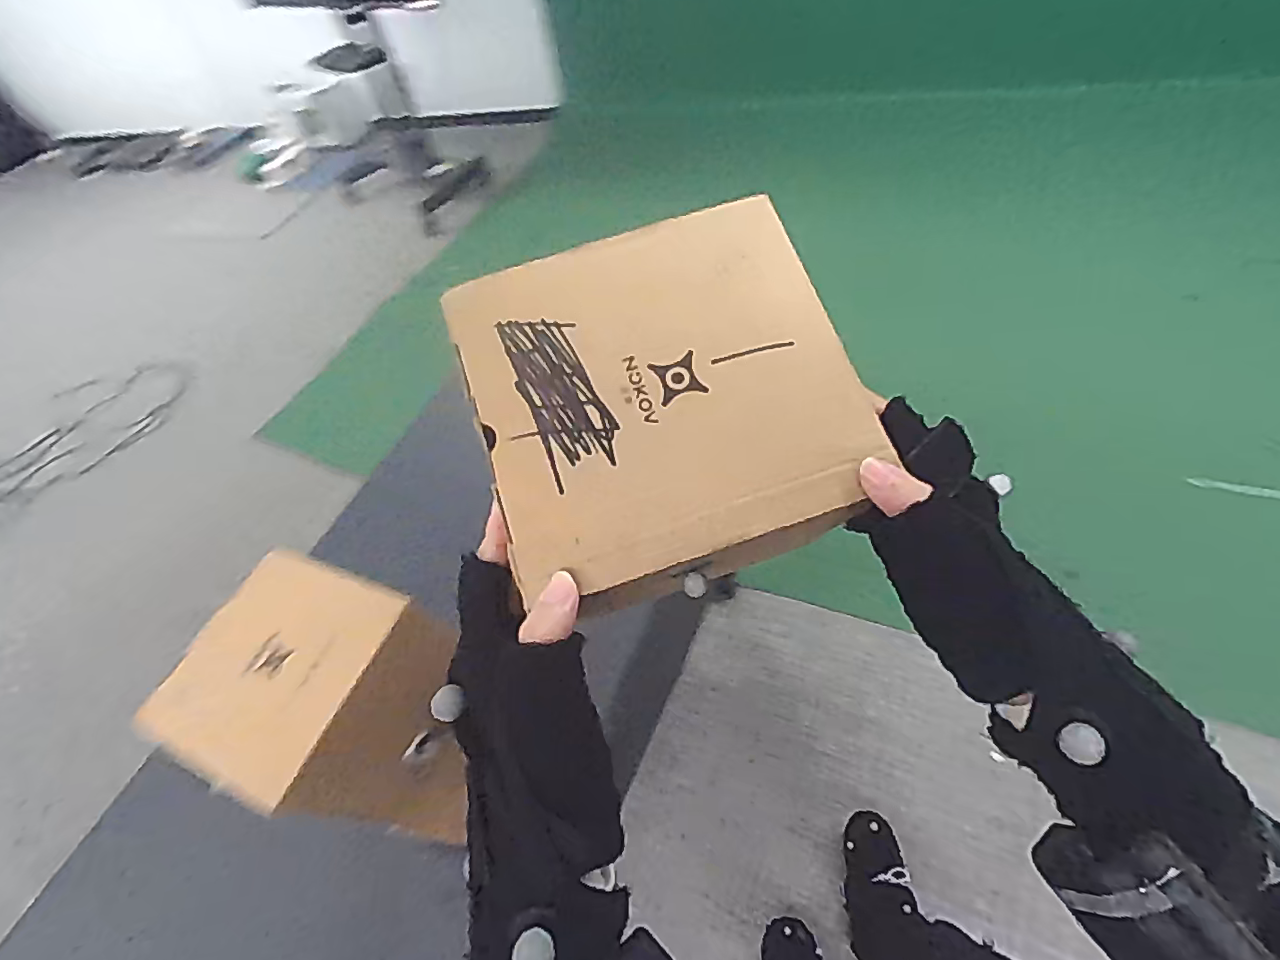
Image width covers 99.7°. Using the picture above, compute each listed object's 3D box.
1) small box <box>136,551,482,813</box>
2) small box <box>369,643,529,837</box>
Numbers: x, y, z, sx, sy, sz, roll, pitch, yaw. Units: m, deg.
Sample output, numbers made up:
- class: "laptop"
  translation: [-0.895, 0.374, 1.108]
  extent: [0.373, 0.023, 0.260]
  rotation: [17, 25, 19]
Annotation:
- class: "small box"
  translation: [-0.286, 0.192, 0.508]
  extent: [0.179, 0.176, 0.168]
  rotation: [12, 59, 20]
- class: "small box"
  translation: [-0.252, 0.286, 0.637]
  extent: [0.168, 0.176, 0.179]
  rotation: [13, 57, 22]
